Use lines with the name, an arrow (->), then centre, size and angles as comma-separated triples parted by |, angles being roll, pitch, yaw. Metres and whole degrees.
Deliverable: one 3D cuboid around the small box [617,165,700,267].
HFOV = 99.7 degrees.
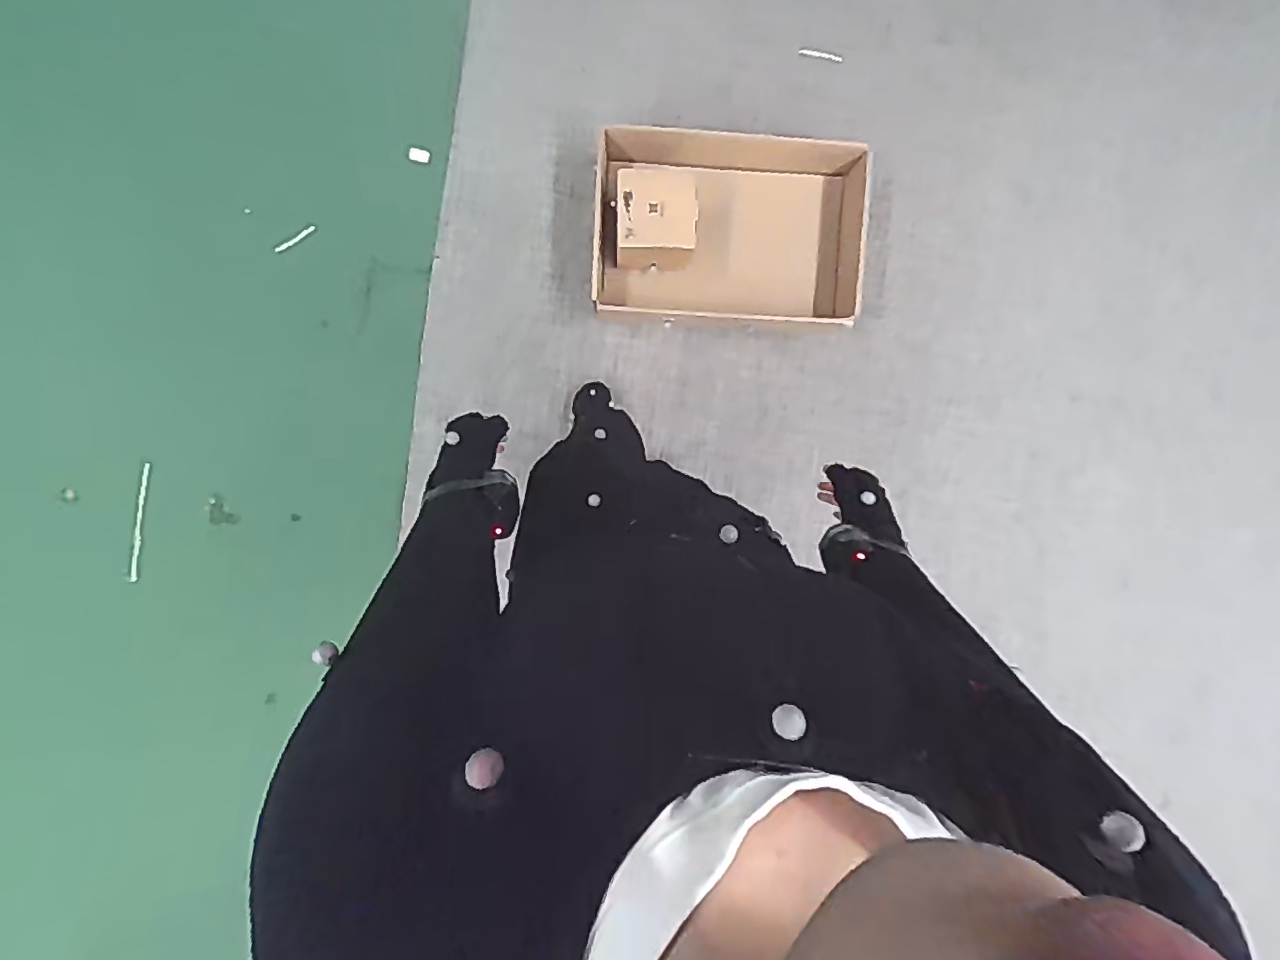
small box -> 0.038, -0.606, 1.260 | 0.179, 0.176, 0.168 | 0, 95, -4
